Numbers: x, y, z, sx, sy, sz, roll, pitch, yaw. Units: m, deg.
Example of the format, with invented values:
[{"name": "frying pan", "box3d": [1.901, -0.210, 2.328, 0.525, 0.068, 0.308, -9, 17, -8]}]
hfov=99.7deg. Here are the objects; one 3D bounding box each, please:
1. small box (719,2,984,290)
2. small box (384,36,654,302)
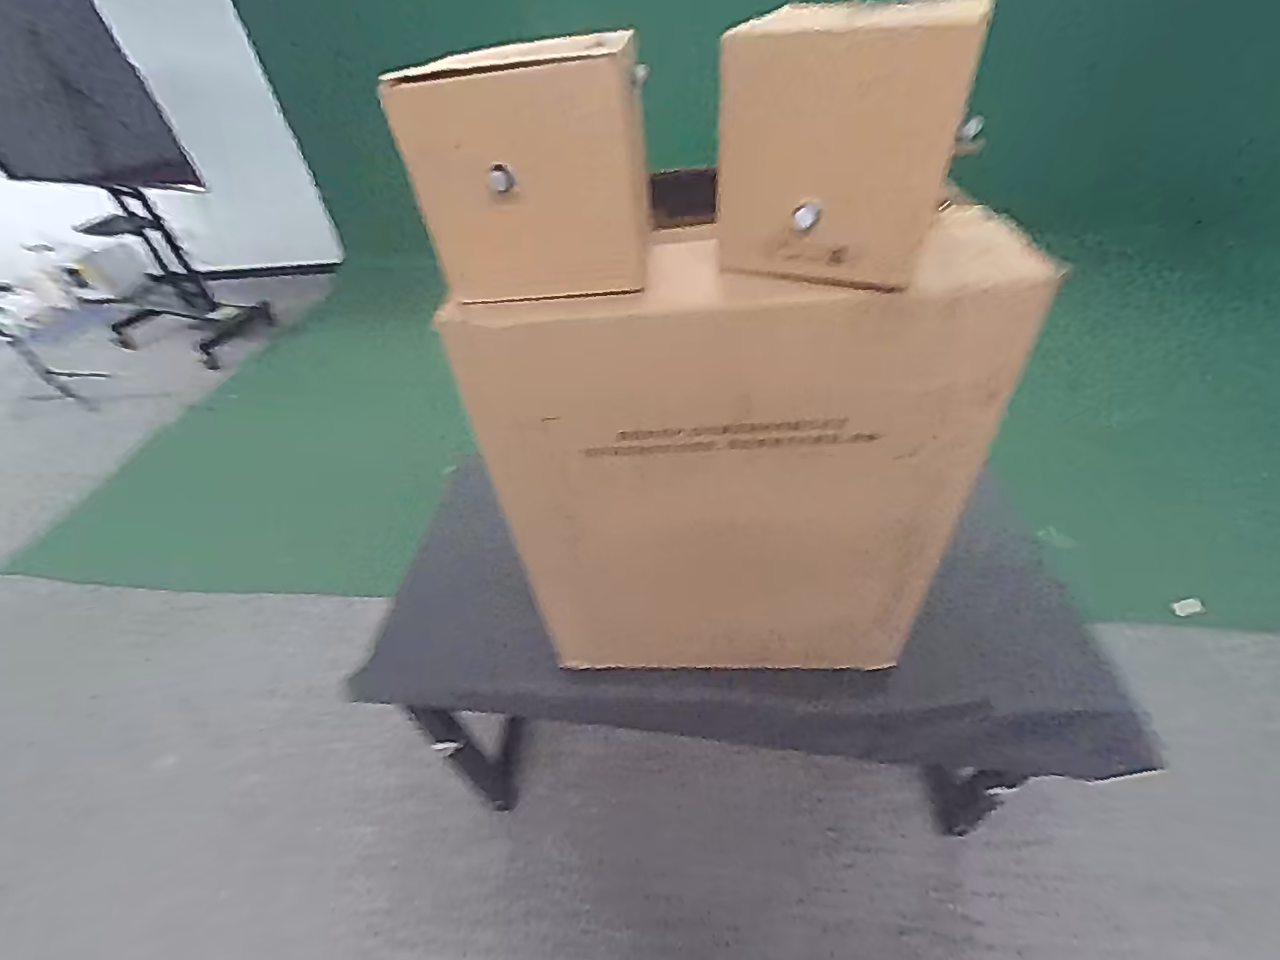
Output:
[{"name": "small box", "box3d": [0.171, -0.286, 0.463, 0.168, 0.176, 0.179, 15, 48, 23]}, {"name": "small box", "box3d": [-0.087, -0.277, 0.493, 0.179, 0.176, 0.168, -3, 44, 8]}]
